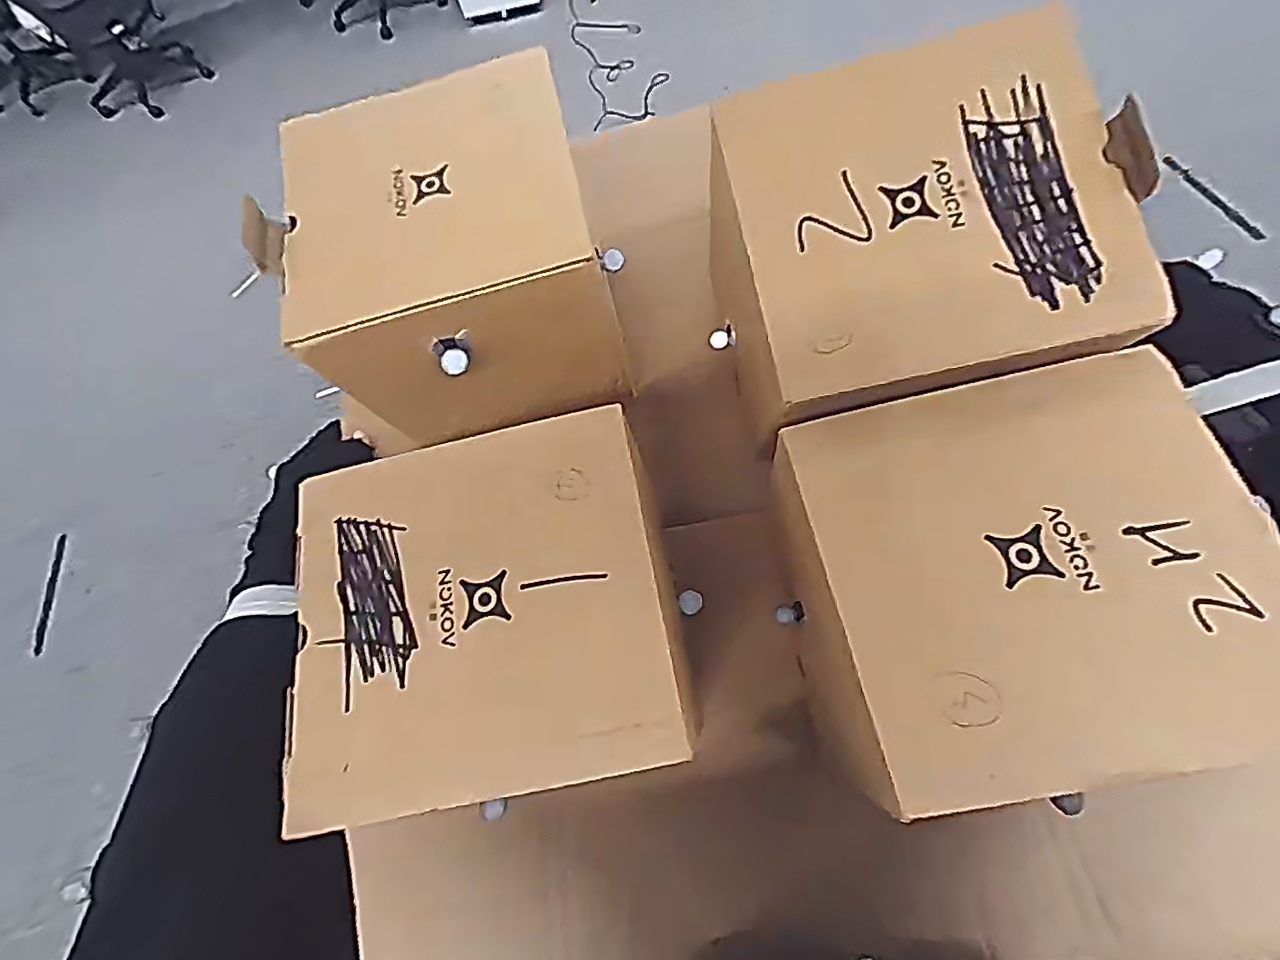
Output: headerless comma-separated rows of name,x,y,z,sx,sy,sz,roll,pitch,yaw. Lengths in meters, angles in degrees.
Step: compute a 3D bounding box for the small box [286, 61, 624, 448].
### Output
small box,-0.115,-0.141,0.392,0.179,0.176,0.168,-15,71,5
